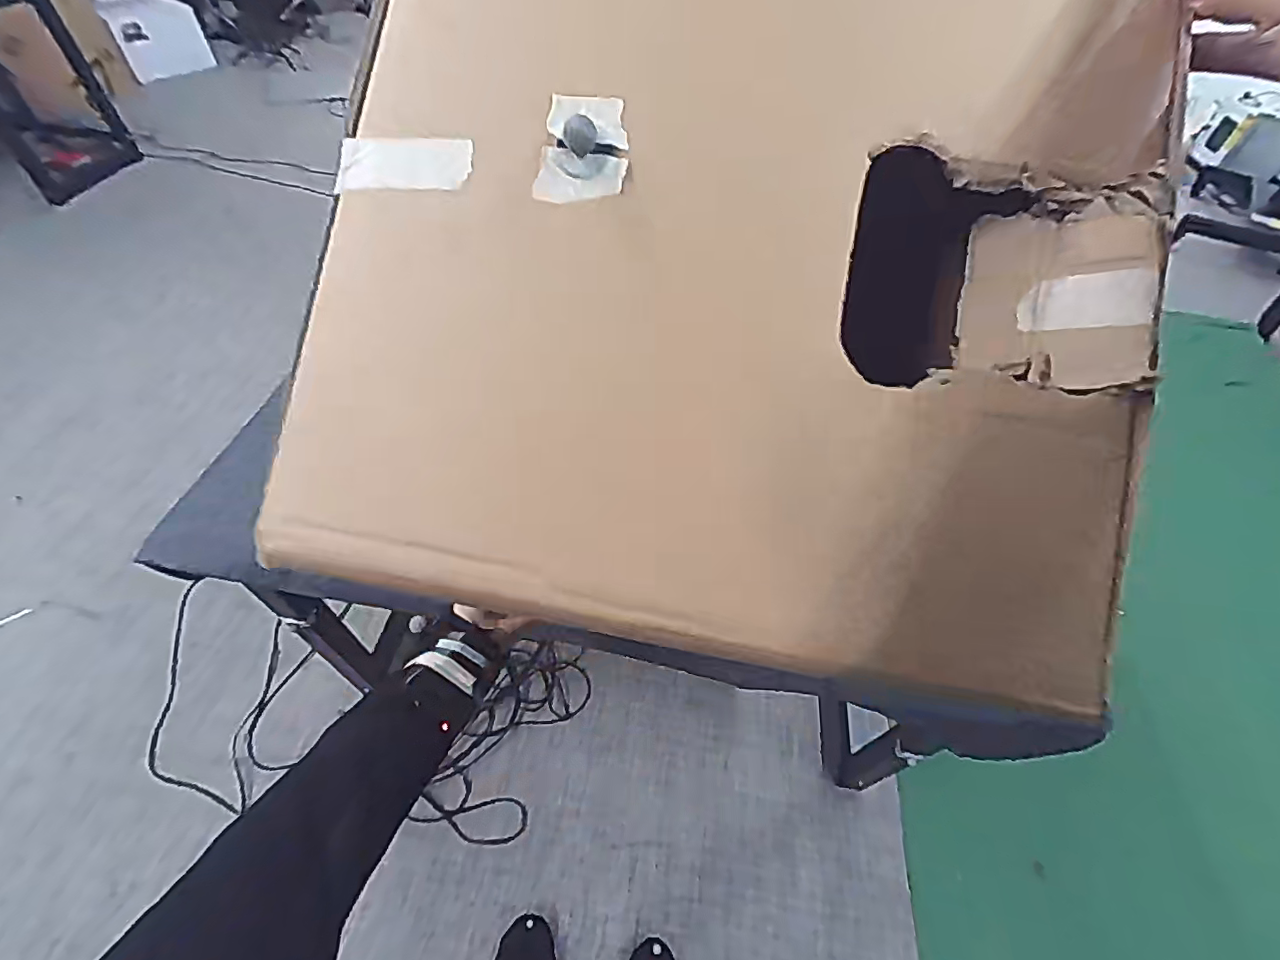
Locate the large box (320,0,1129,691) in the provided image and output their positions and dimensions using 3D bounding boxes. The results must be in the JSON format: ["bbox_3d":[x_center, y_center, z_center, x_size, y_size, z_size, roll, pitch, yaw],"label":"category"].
[{"bbox_3d":[0.038,-0.076,0.415,0.320,0.408,0.320,10,86,1],"label":"large box"}]
